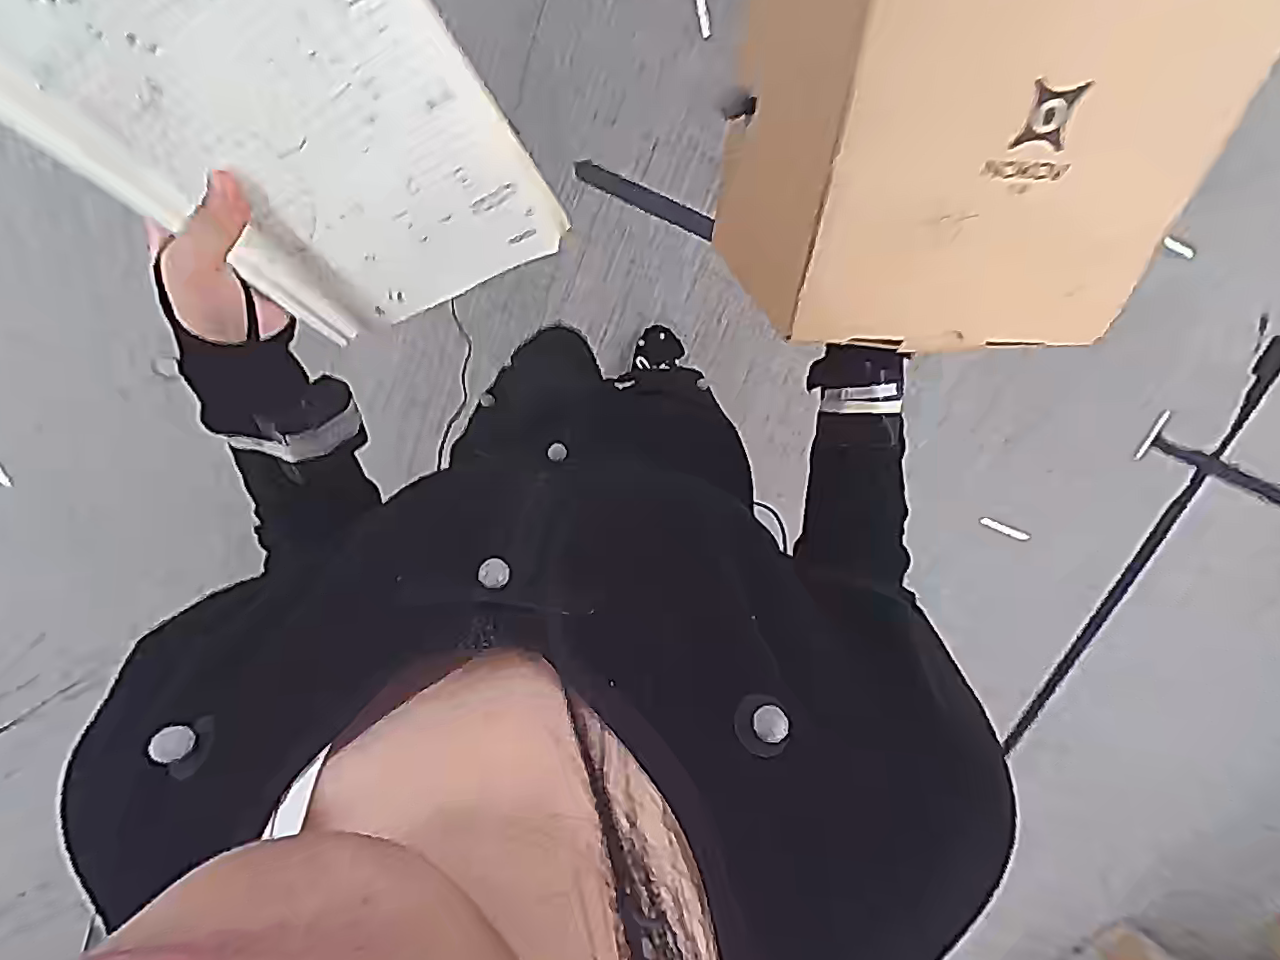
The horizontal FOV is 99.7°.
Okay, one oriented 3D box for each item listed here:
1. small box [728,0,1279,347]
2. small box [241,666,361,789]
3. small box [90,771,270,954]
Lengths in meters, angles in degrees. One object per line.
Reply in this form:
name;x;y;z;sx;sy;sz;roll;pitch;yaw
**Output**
small box;0.151;-0.186;0.274;0.168;0.176;0.179;-2;129;-8
small box;-0.777;0.567;1.257;0.168;0.176;0.179;19;106;-5
small box;-0.786;0.656;0.940;0.168;0.176;0.179;21;105;-6
